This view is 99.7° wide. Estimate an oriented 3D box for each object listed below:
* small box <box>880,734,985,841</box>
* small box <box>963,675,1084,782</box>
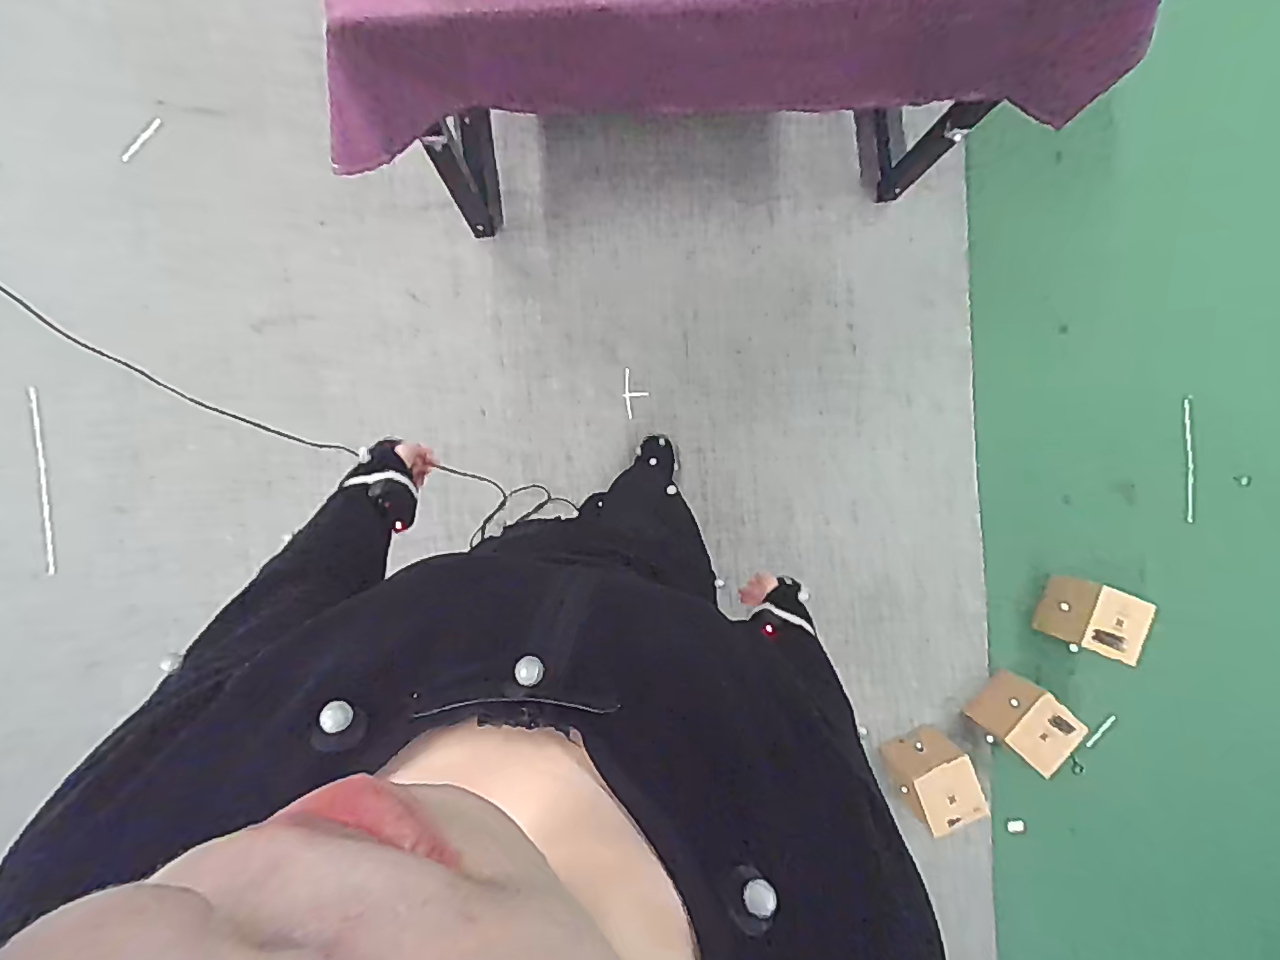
[{"bbox_3d":[0.791,0.828,1.482,0.168,0.176,0.179,-21,92,-3],"label":"small box"},{"bbox_3d":[1.049,0.676,1.495,0.168,0.176,0.179,42,89,-4],"label":"small box"}]
